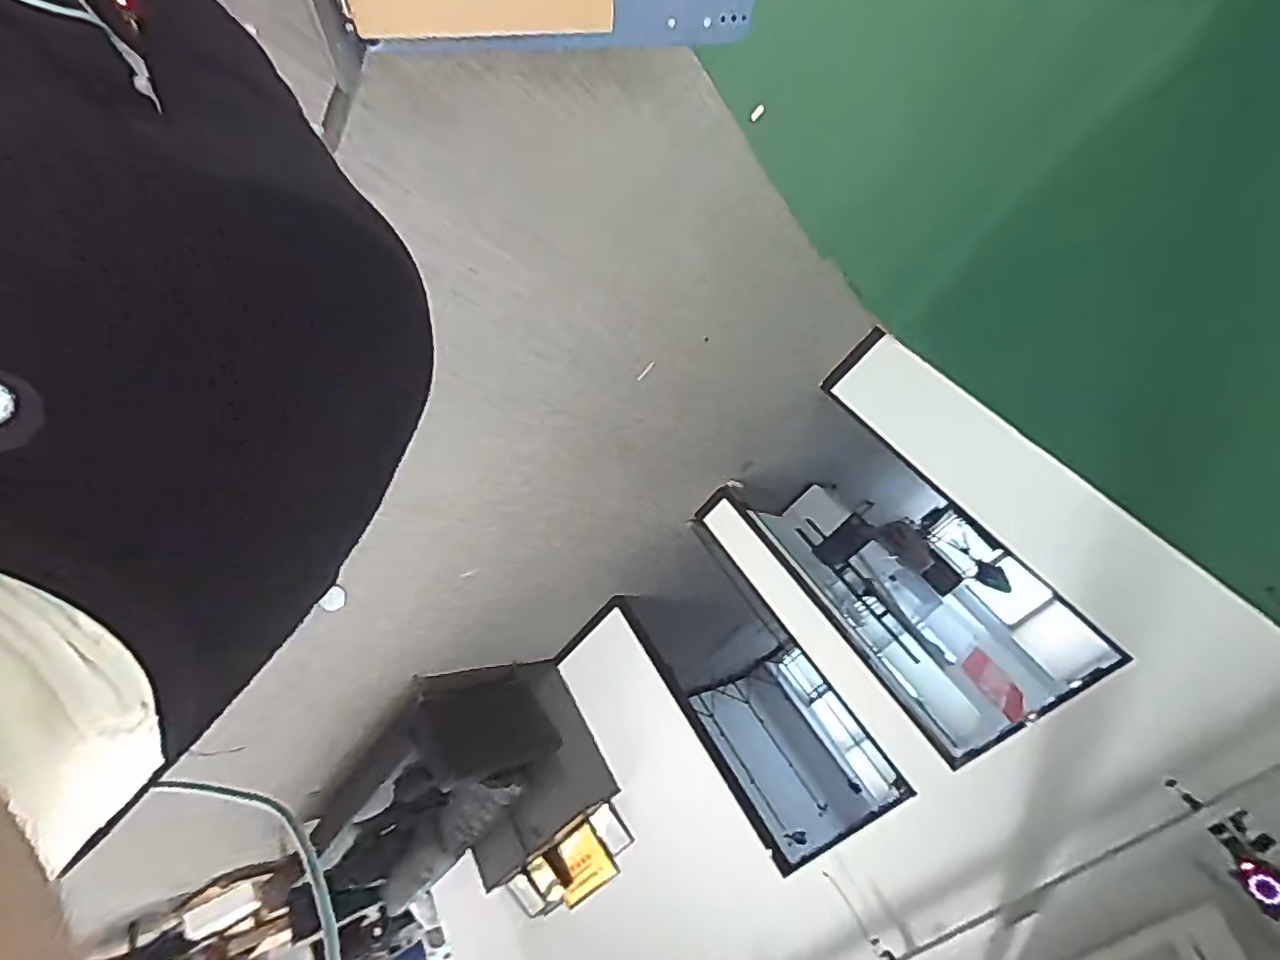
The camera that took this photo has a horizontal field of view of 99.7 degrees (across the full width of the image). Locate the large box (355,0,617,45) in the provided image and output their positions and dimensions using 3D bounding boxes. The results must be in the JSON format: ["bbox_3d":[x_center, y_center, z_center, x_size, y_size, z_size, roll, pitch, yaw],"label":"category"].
[{"bbox_3d":[-0.266,-0.918,0.835,0.408,0.320,0.320,-11,145,-11],"label":"large box"}]
